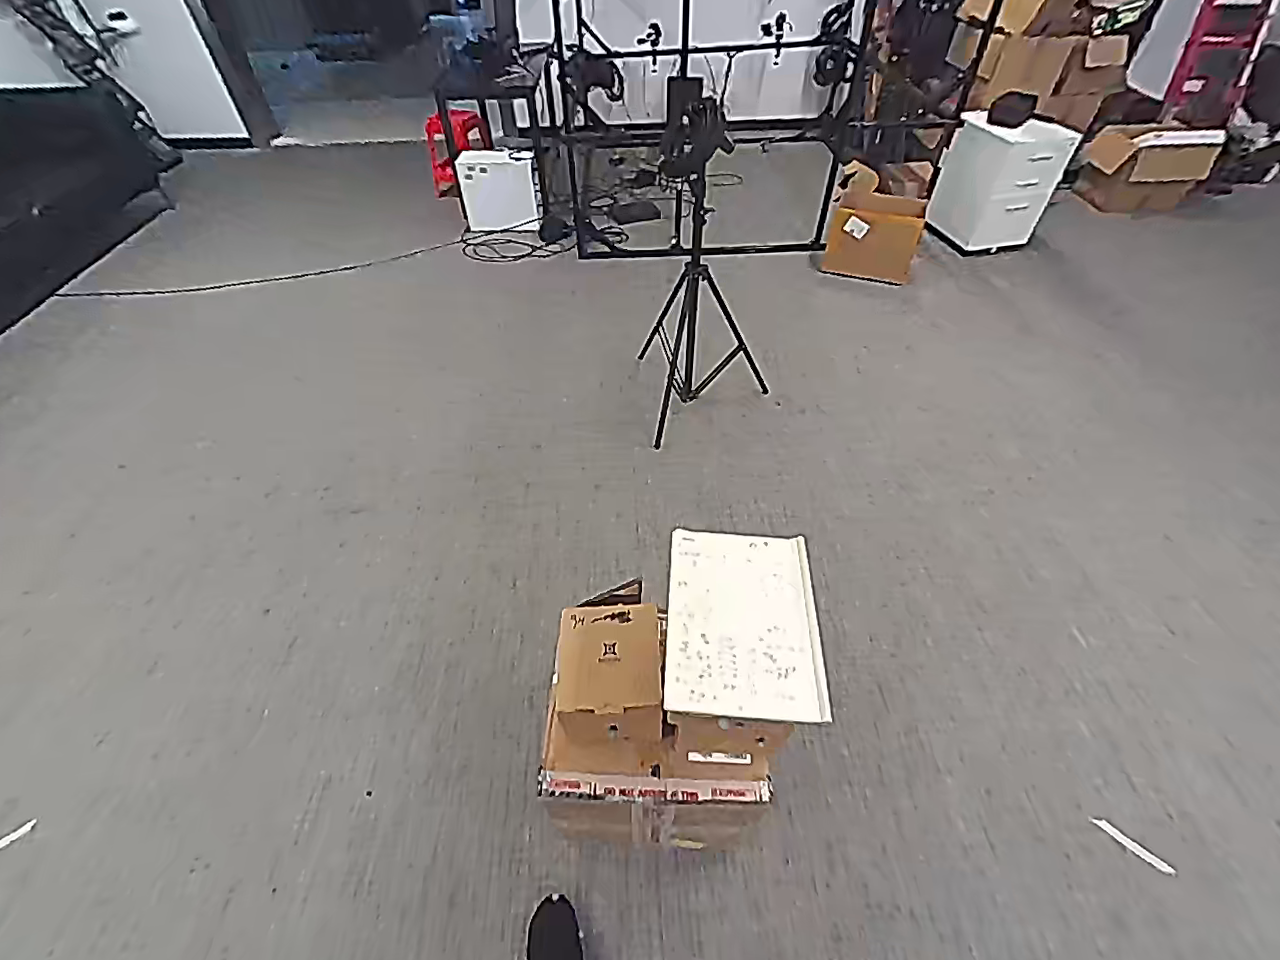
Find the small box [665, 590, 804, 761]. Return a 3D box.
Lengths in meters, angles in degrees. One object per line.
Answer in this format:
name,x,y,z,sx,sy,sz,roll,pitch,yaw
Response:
small box,0.125,0.282,0.778,0.168,0.176,0.179,4,49,2
